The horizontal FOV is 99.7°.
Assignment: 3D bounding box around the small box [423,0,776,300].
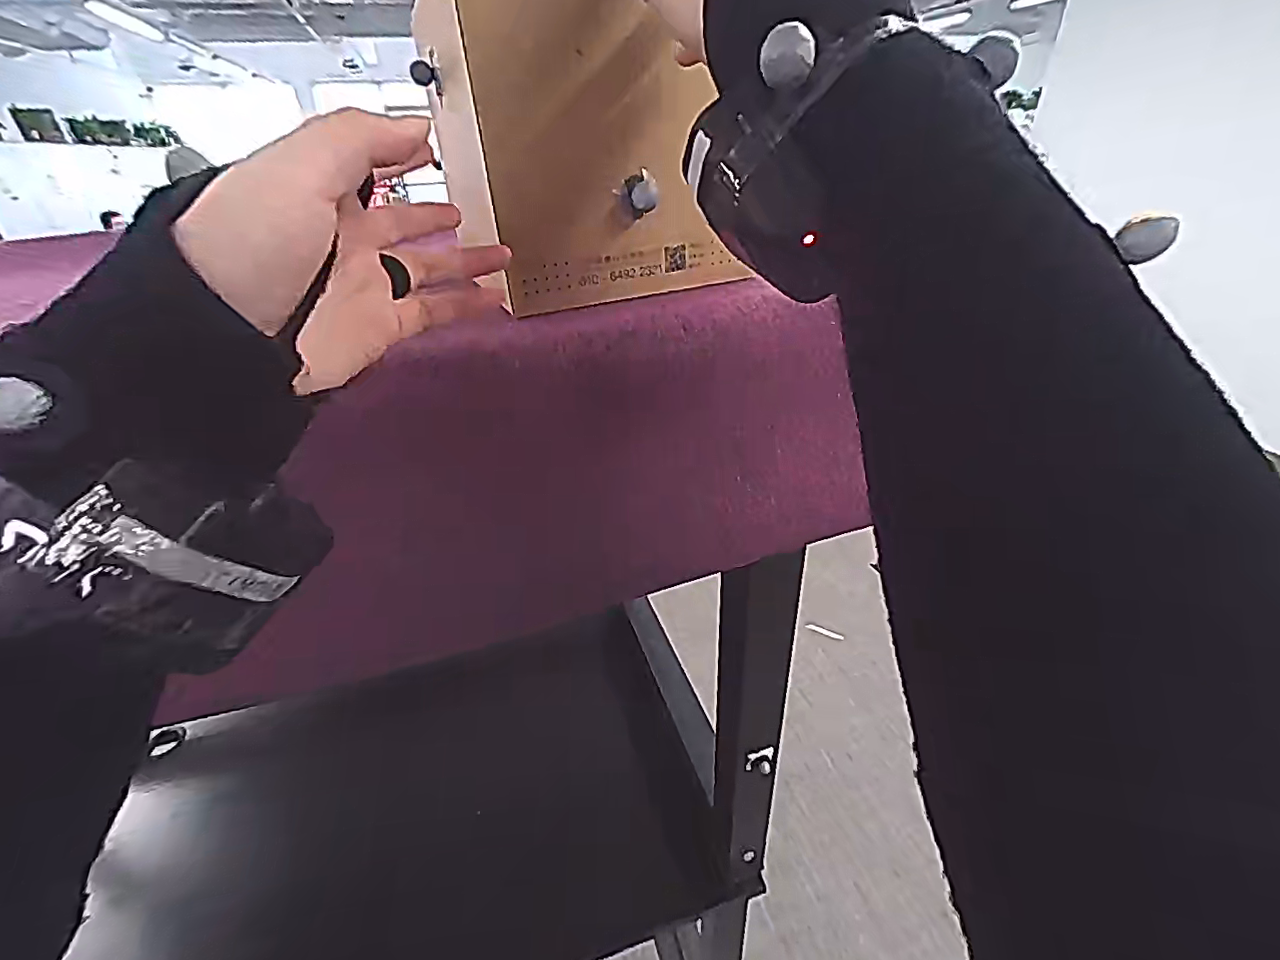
[{"bbox_3d":[-0.033,-0.223,0.357,0.168,0.176,0.179,-16,33,-19],"label":"small box"}]
